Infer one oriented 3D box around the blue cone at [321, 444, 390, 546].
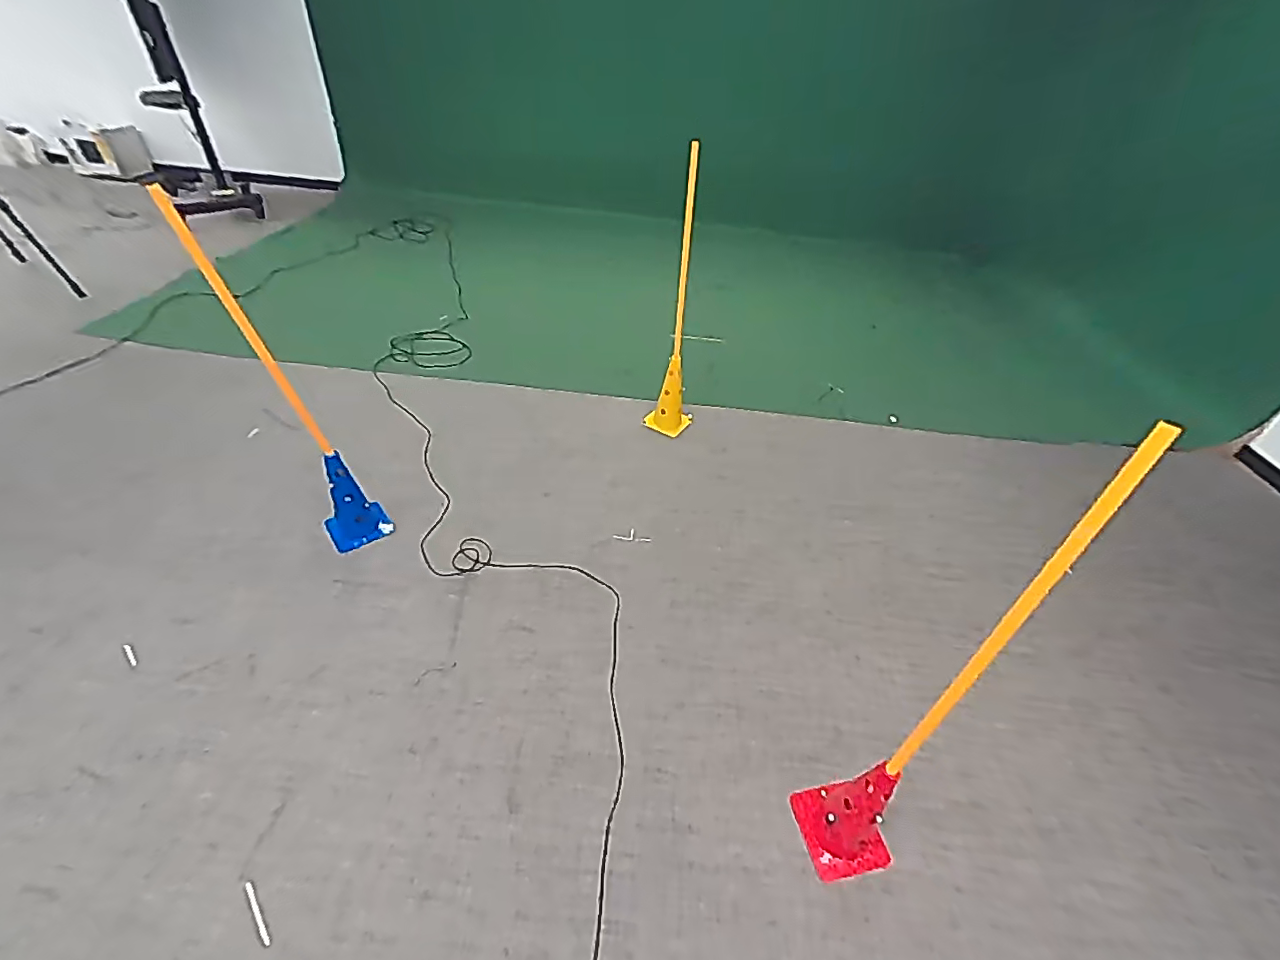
[{"bbox_3d":[-1.032,0.036,1.886,0.193,0.380,0.192,-29,53,-31],"label":"blue cone"}]
